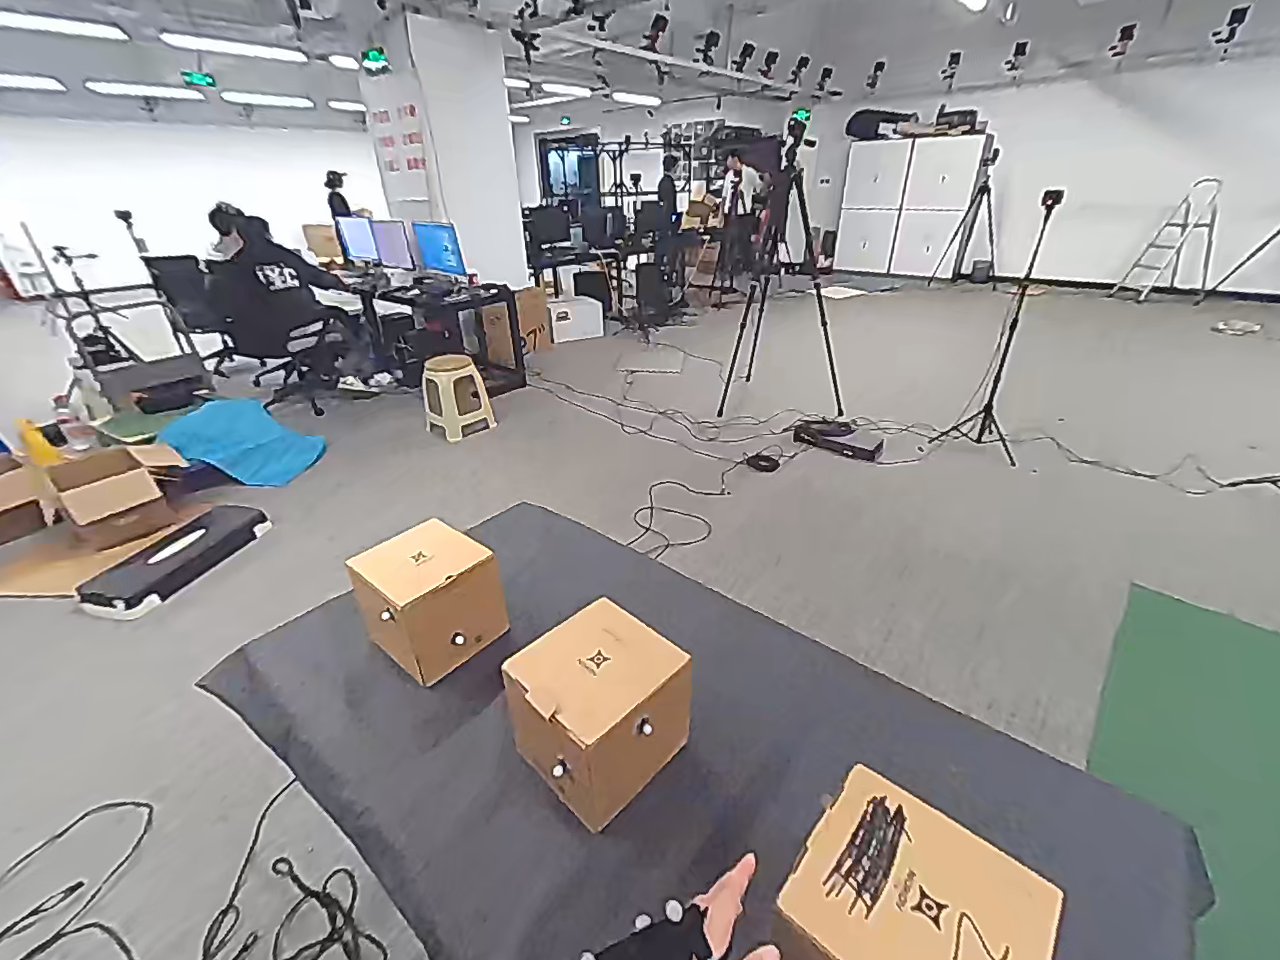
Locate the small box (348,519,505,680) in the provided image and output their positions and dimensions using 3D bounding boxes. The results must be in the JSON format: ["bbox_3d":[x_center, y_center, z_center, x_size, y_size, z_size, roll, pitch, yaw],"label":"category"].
[{"bbox_3d":[-0.349,0.196,0.900,0.179,0.176,0.168,21,36,33],"label":"small box"}]

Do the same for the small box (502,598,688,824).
[{"bbox_3d":[-0.053,0.294,0.706,0.168,0.176,0.179,25,37,37],"label":"small box"}]
